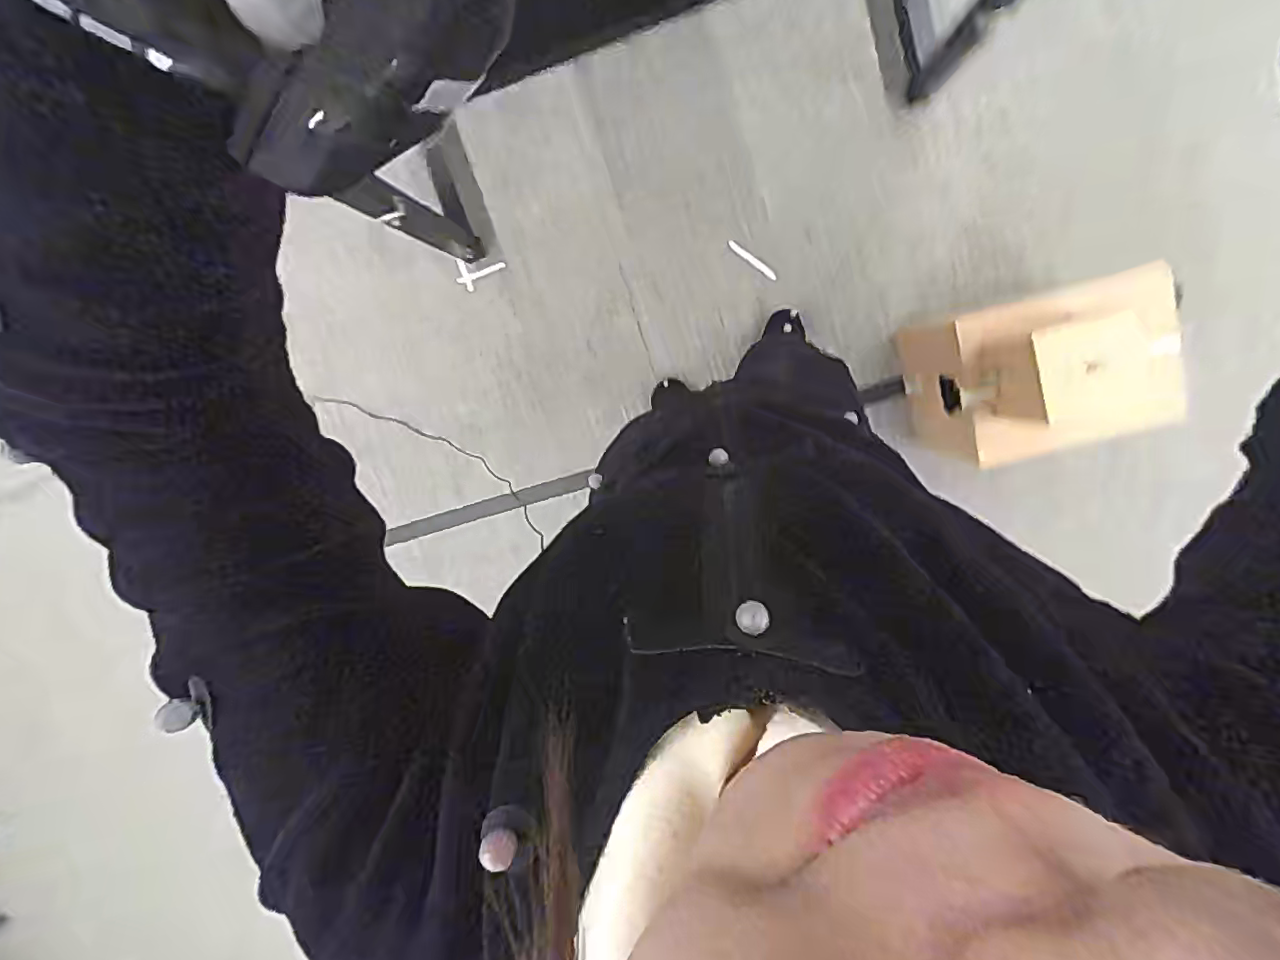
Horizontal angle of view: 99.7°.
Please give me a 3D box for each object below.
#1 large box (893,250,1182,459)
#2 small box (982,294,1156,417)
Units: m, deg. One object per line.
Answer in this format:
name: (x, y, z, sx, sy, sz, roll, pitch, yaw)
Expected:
large box: (0.859, -0.270, 1.221, 0.408, 0.320, 0.320, -16, 101, 7)
small box: (0.770, -0.222, 0.986, 0.179, 0.176, 0.168, -17, 98, 8)
